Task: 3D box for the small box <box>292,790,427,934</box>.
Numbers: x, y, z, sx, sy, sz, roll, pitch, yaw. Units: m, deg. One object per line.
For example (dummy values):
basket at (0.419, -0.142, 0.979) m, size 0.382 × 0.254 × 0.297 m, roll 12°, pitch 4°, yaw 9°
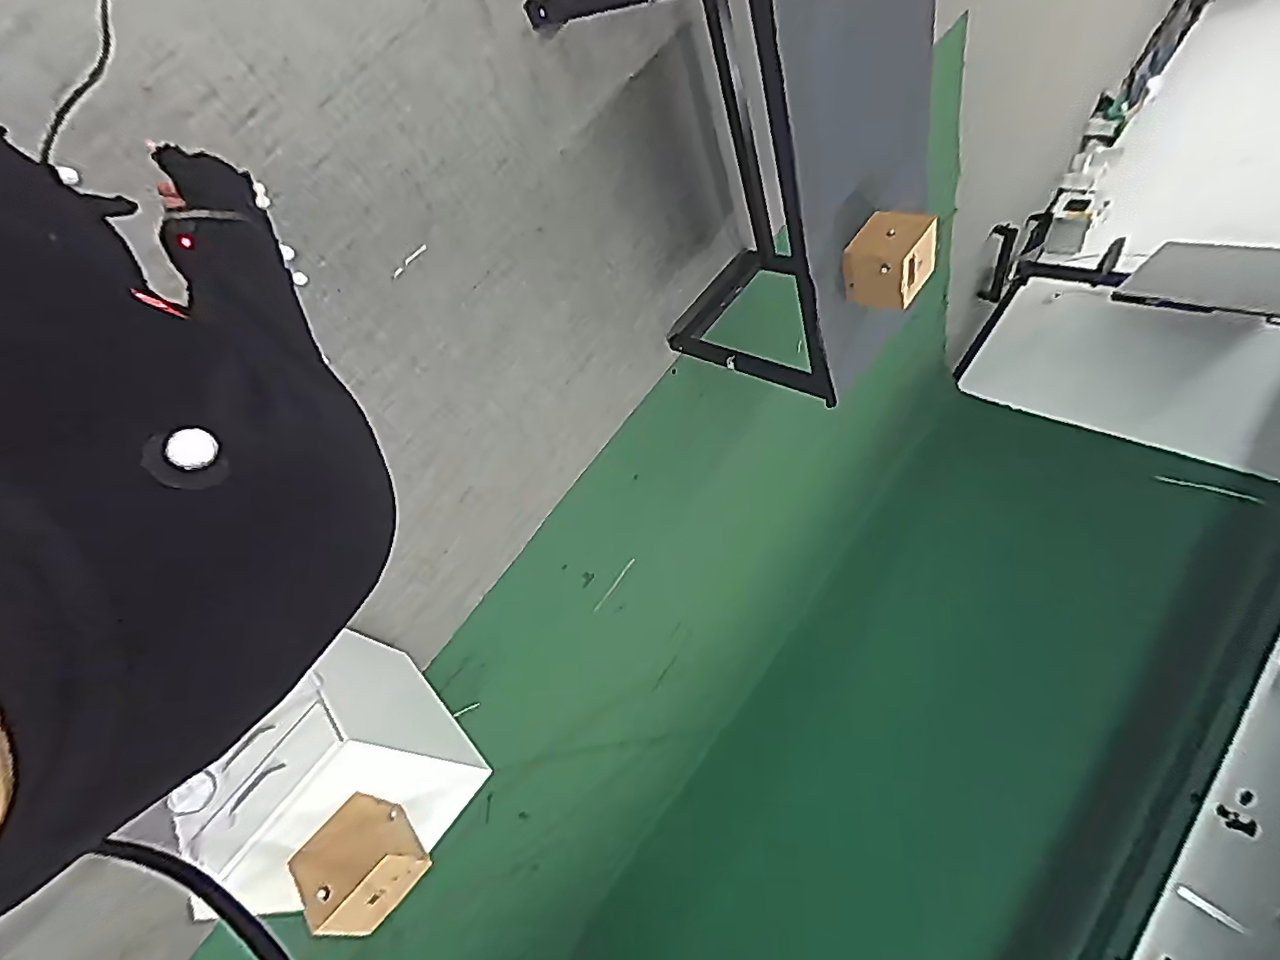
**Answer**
small box at (-0.599, 0.807, 1.146) m, size 0.179 × 0.176 × 0.168 m, roll -45°, pitch 141°, yaw -19°
